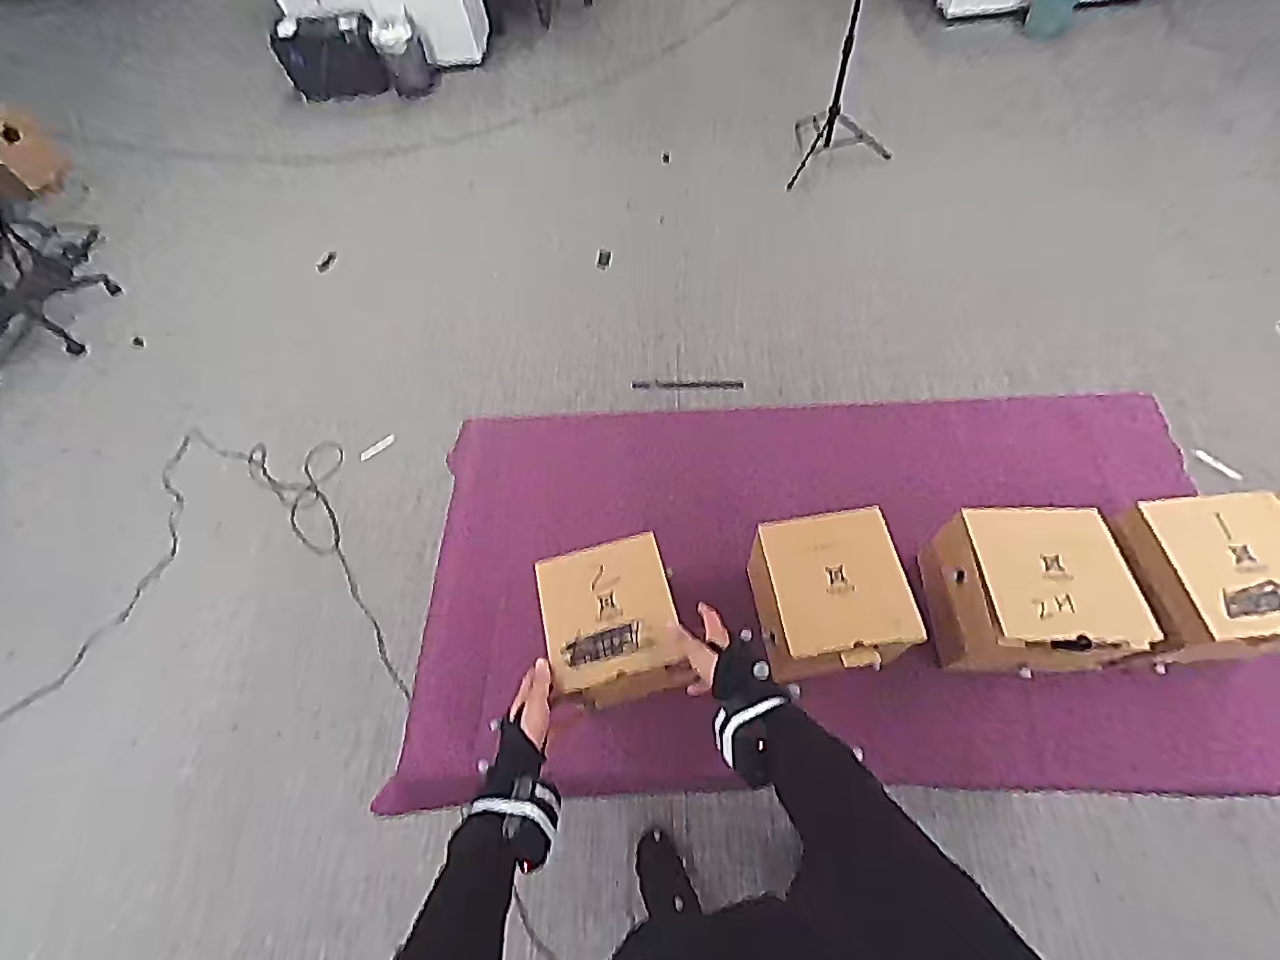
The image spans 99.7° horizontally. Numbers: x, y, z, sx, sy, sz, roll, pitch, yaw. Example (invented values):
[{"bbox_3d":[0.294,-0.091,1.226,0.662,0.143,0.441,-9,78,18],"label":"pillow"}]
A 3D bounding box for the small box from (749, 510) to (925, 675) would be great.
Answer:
[{"bbox_3d":[0.254,0.164,0.746,0.168,0.176,0.179,-8,60,1],"label":"small box"}]

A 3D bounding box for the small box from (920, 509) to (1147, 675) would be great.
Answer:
[{"bbox_3d":[0.499,0.153,0.724,0.168,0.176,0.179,0,61,6],"label":"small box"}]

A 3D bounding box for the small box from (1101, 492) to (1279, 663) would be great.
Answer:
[{"bbox_3d":[0.719,0.137,0.709,0.168,0.176,0.179,-6,60,3],"label":"small box"}]
